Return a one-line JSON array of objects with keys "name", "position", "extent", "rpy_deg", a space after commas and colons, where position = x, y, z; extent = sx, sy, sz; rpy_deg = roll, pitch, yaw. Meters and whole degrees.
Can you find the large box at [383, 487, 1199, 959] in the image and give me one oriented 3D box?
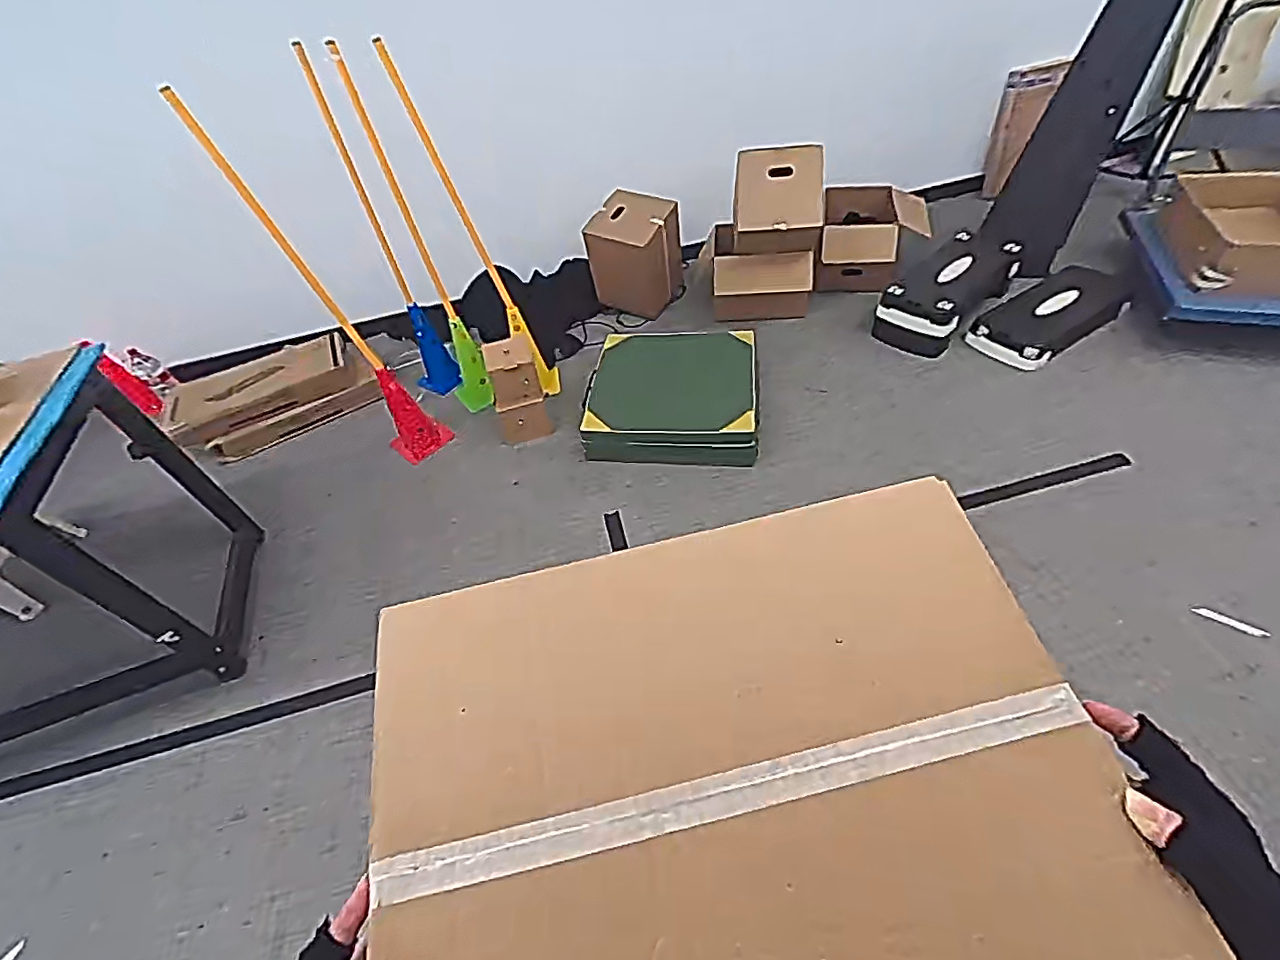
[{"name": "large box", "position": [0.064, 0.252, 0.440], "extent": [0.408, 0.320, 0.320], "rpy_deg": [-14, 59, -2]}]
